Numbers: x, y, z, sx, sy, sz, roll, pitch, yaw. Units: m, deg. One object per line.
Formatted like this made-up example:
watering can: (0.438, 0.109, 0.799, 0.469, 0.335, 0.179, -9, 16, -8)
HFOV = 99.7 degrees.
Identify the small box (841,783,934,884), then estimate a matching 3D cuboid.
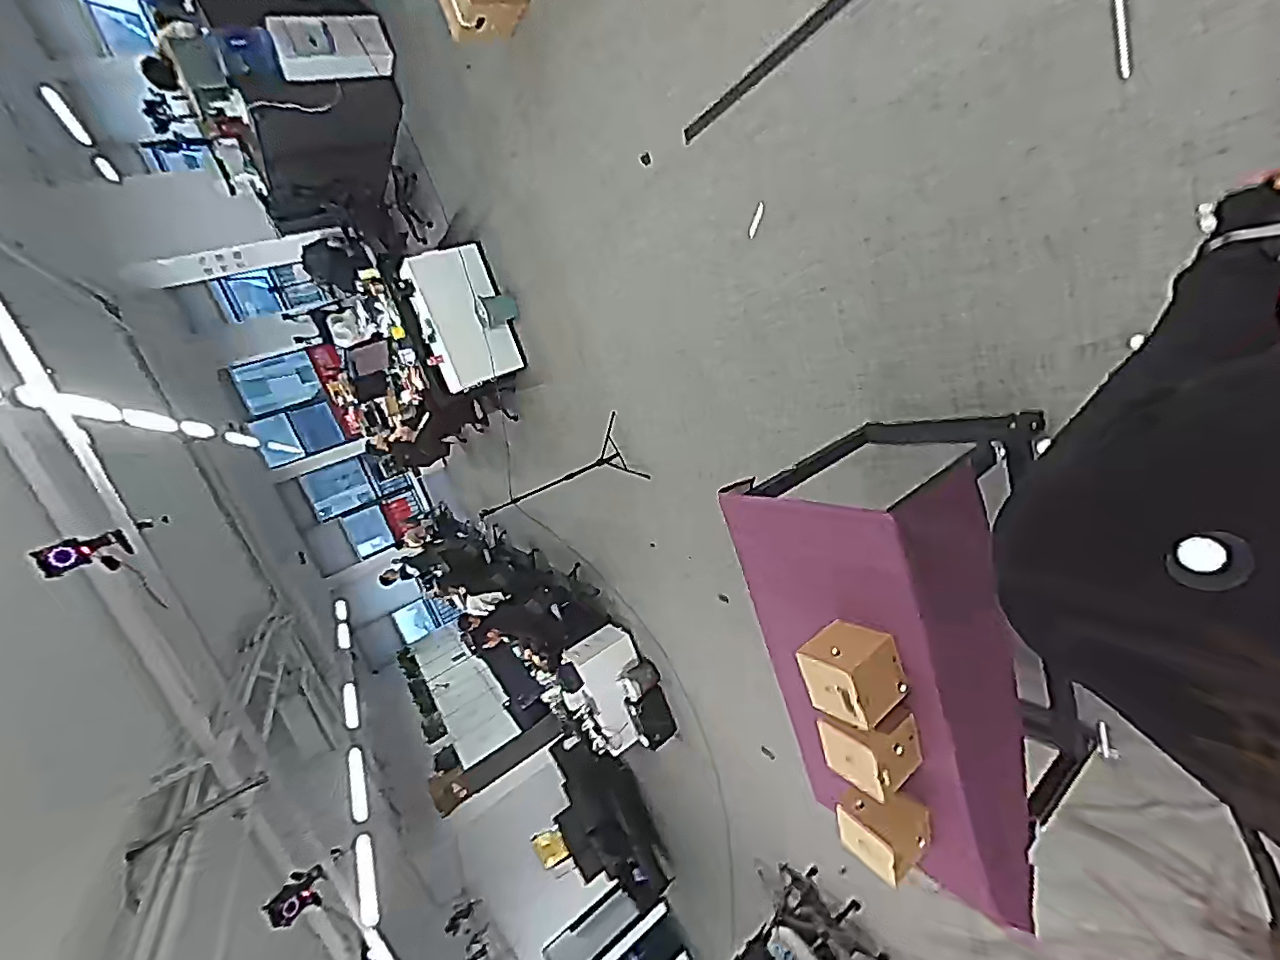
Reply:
small box: (0.697, 0.964, 1.521, 0.179, 0.176, 0.168, 20, 131, 54)

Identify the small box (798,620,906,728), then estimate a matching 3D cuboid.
small box: (0.538, 0.476, 1.359, 0.179, 0.176, 0.168, -1, 113, 63)

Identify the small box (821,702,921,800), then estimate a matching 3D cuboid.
small box: (0.611, 0.677, 1.417, 0.179, 0.176, 0.168, 11, 123, 58)
